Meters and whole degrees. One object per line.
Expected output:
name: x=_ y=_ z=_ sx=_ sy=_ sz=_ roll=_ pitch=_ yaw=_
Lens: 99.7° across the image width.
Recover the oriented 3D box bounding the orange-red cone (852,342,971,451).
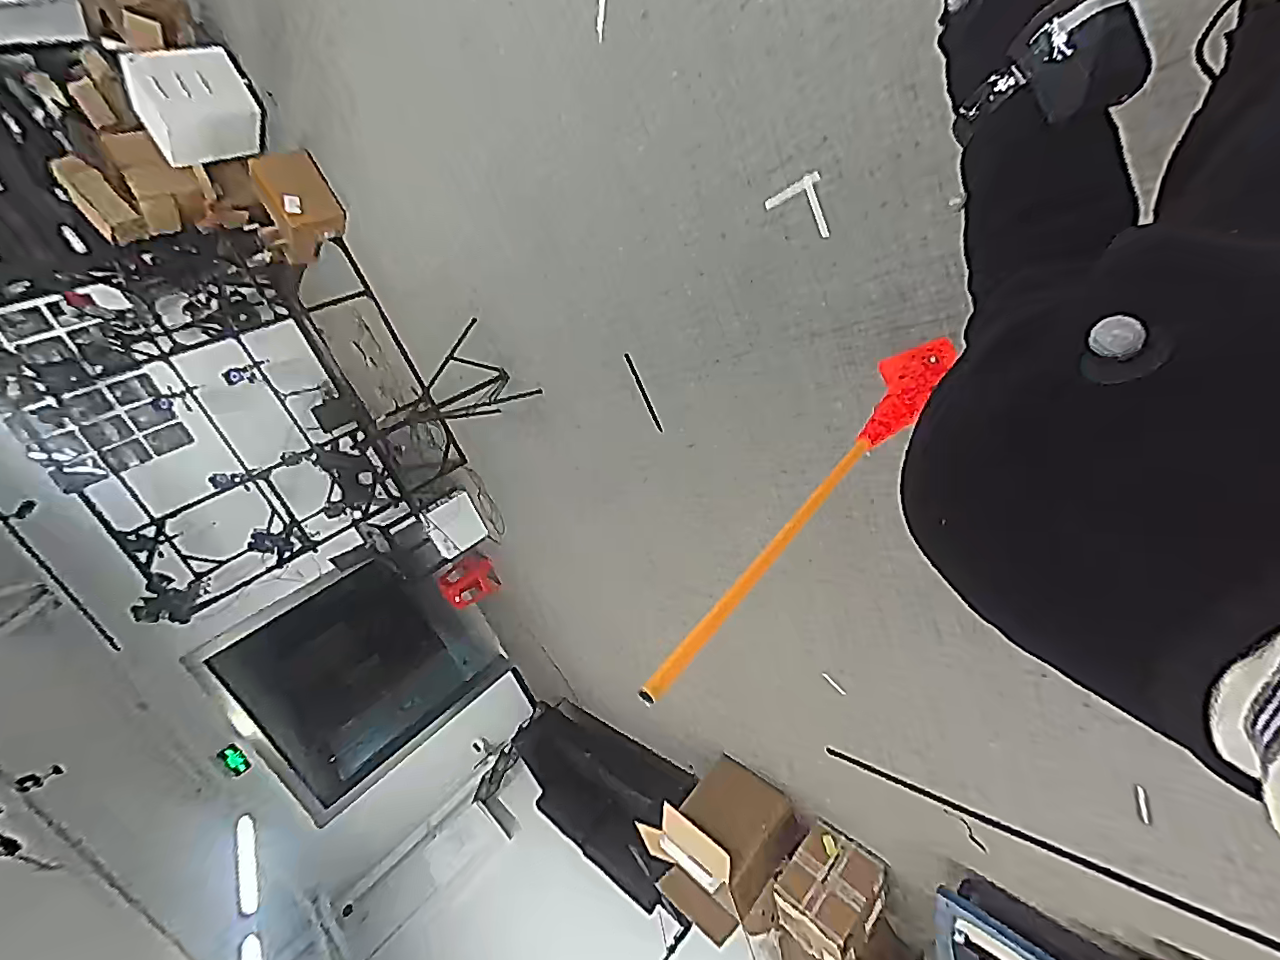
orange-red cone: x=0.630 y=-0.167 z=1.342 sx=0.199 sy=0.360 sz=0.198 roll=-14 pitch=108 yaw=58
